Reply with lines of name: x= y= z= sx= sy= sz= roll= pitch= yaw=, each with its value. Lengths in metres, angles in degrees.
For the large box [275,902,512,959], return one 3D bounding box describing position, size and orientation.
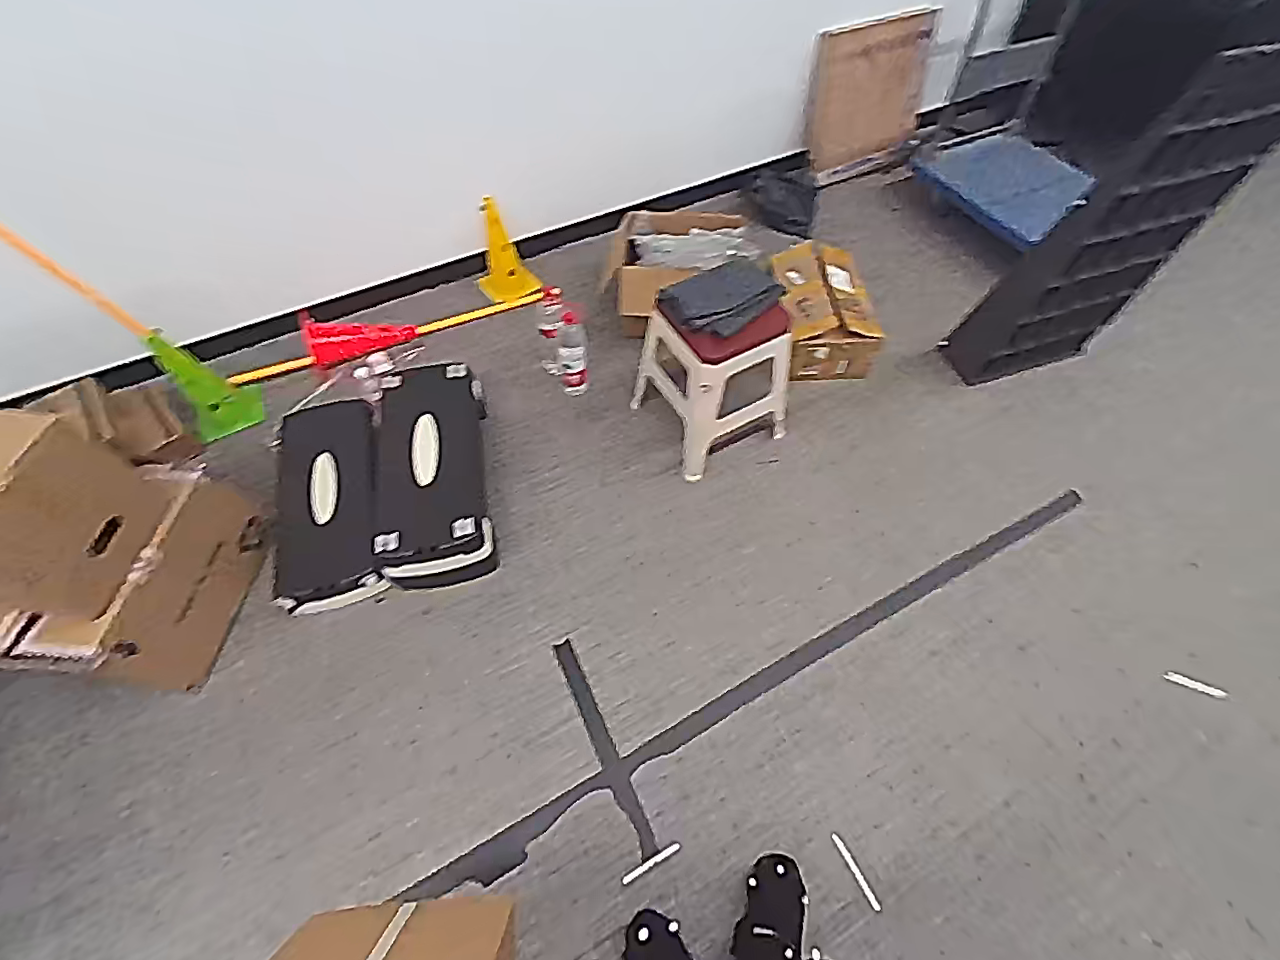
large box: x=-0.339 y=0.782 z=0.629 sx=0.320 sy=0.408 sz=0.320 roll=-2 pitch=80 yaw=-2
